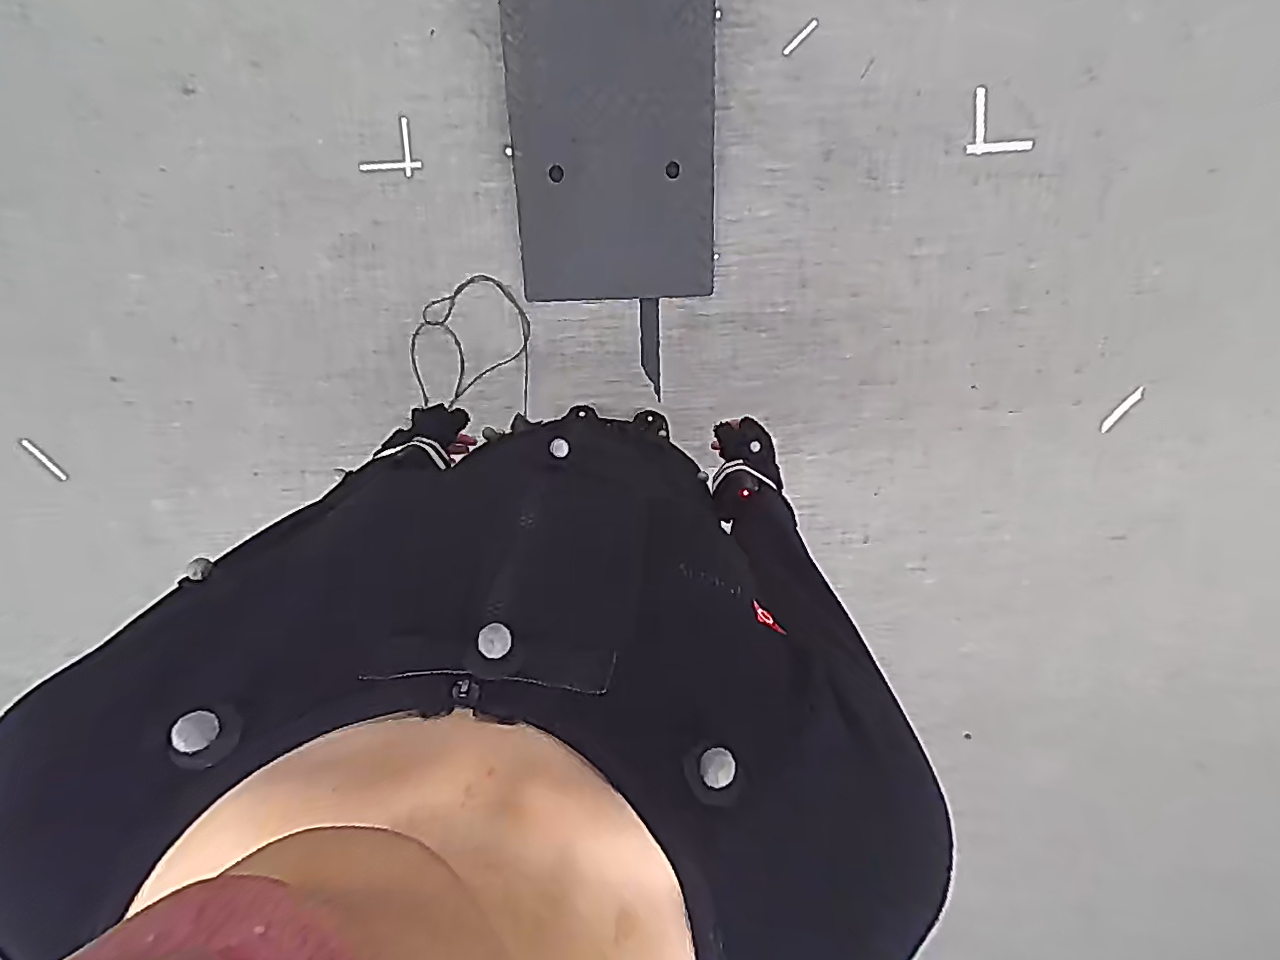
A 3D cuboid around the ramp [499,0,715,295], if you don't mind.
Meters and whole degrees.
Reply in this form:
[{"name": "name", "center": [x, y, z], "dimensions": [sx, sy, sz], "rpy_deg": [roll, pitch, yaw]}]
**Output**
[{"name": "ramp", "center": [-0.067, -0.964, 1.257], "dimensions": [0.509, 0.206, 0.991], "rpy_deg": [-4, 98, -2]}]
